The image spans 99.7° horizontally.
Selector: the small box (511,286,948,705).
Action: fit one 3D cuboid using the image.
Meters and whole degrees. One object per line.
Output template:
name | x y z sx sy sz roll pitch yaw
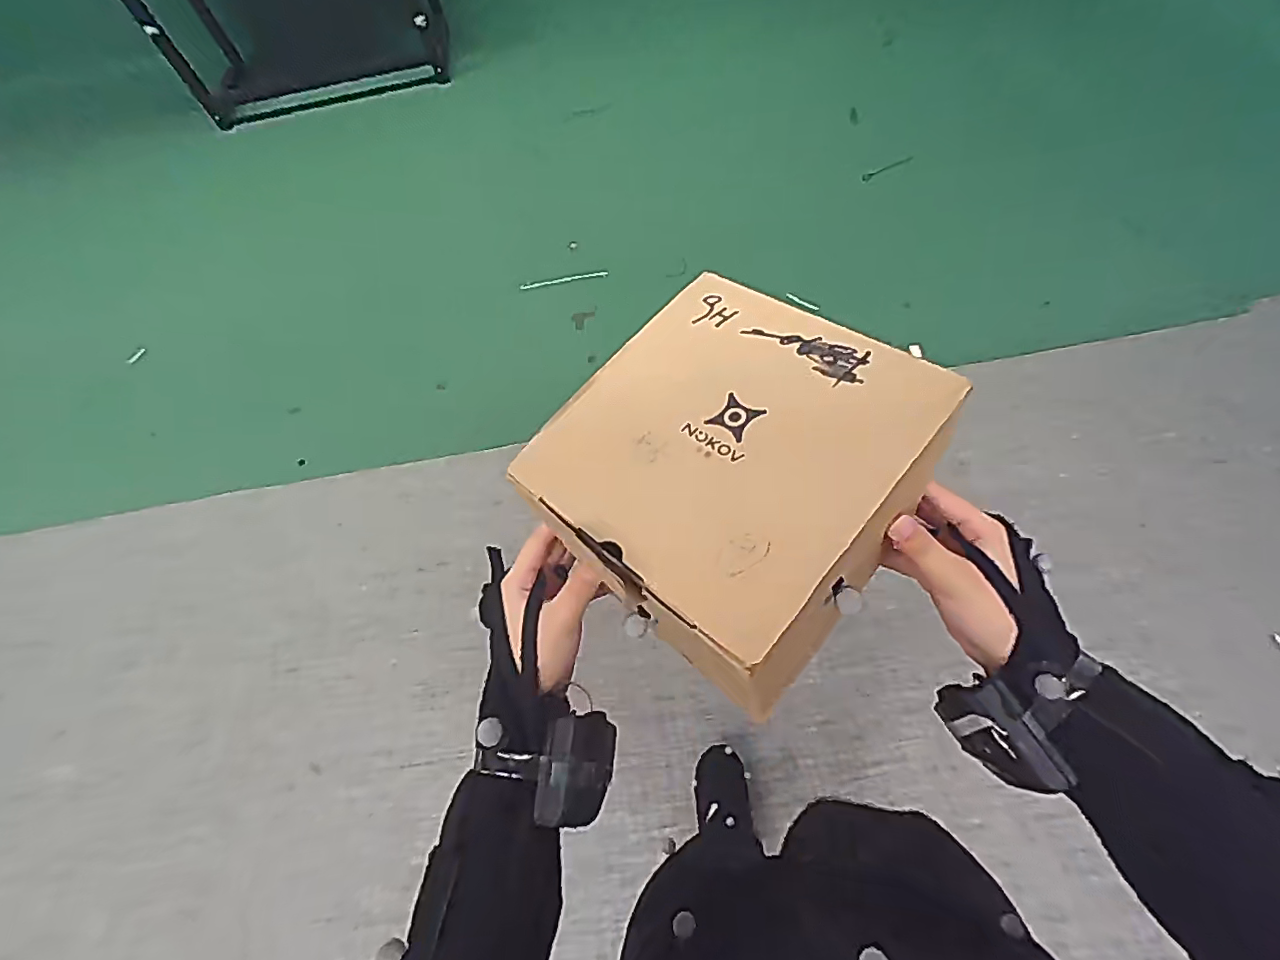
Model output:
small box | 0.058 0.018 0.350 0.168 0.176 0.179 35 74 29
